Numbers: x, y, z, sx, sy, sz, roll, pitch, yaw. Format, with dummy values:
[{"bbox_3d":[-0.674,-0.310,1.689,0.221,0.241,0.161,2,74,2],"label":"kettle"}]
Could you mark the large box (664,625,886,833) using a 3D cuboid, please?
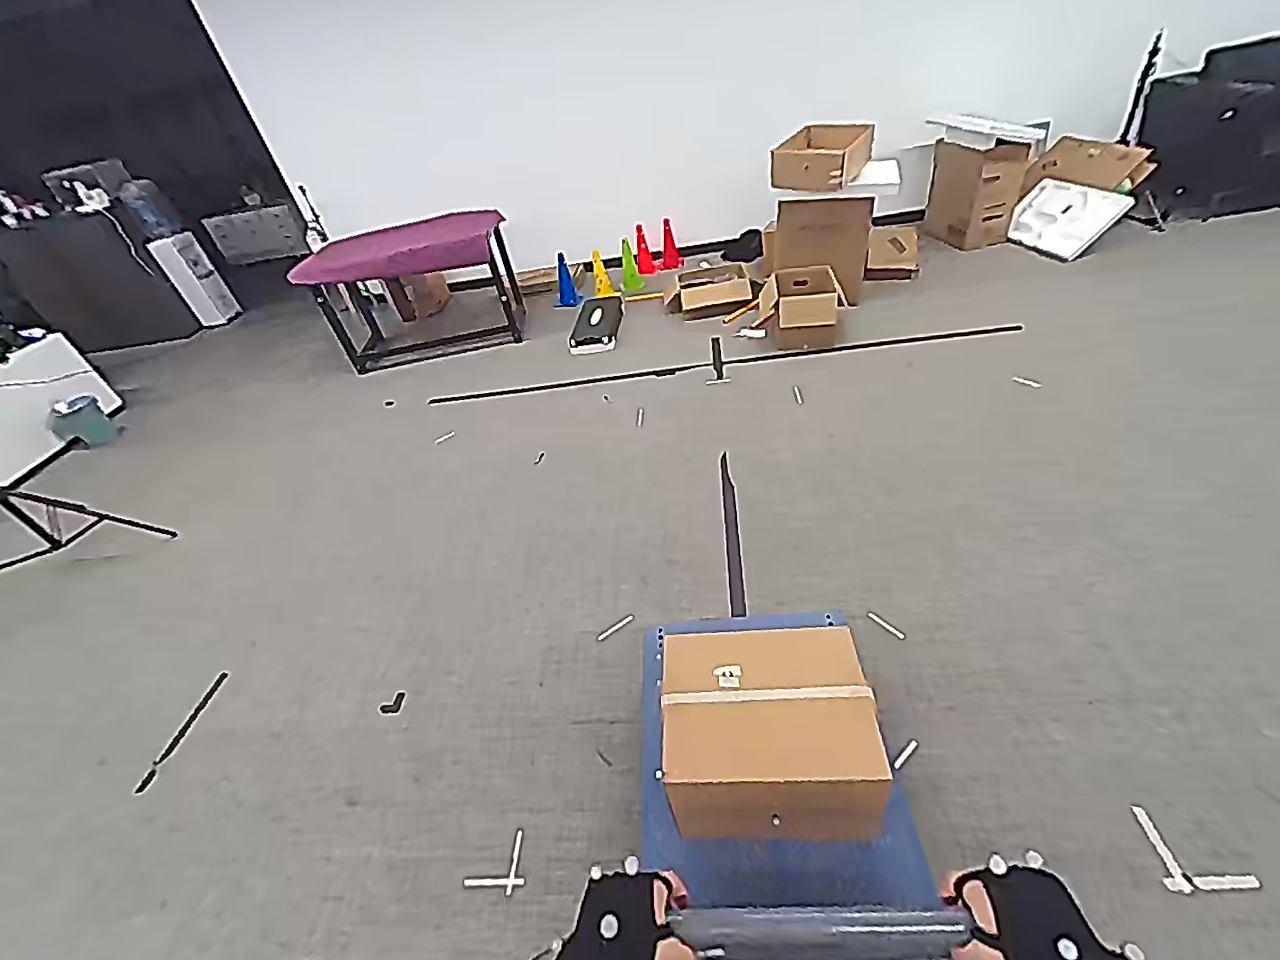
[{"bbox_3d":[0.272,0.549,1.184,0.408,0.320,0.320,-6,39,8],"label":"large box"}]
